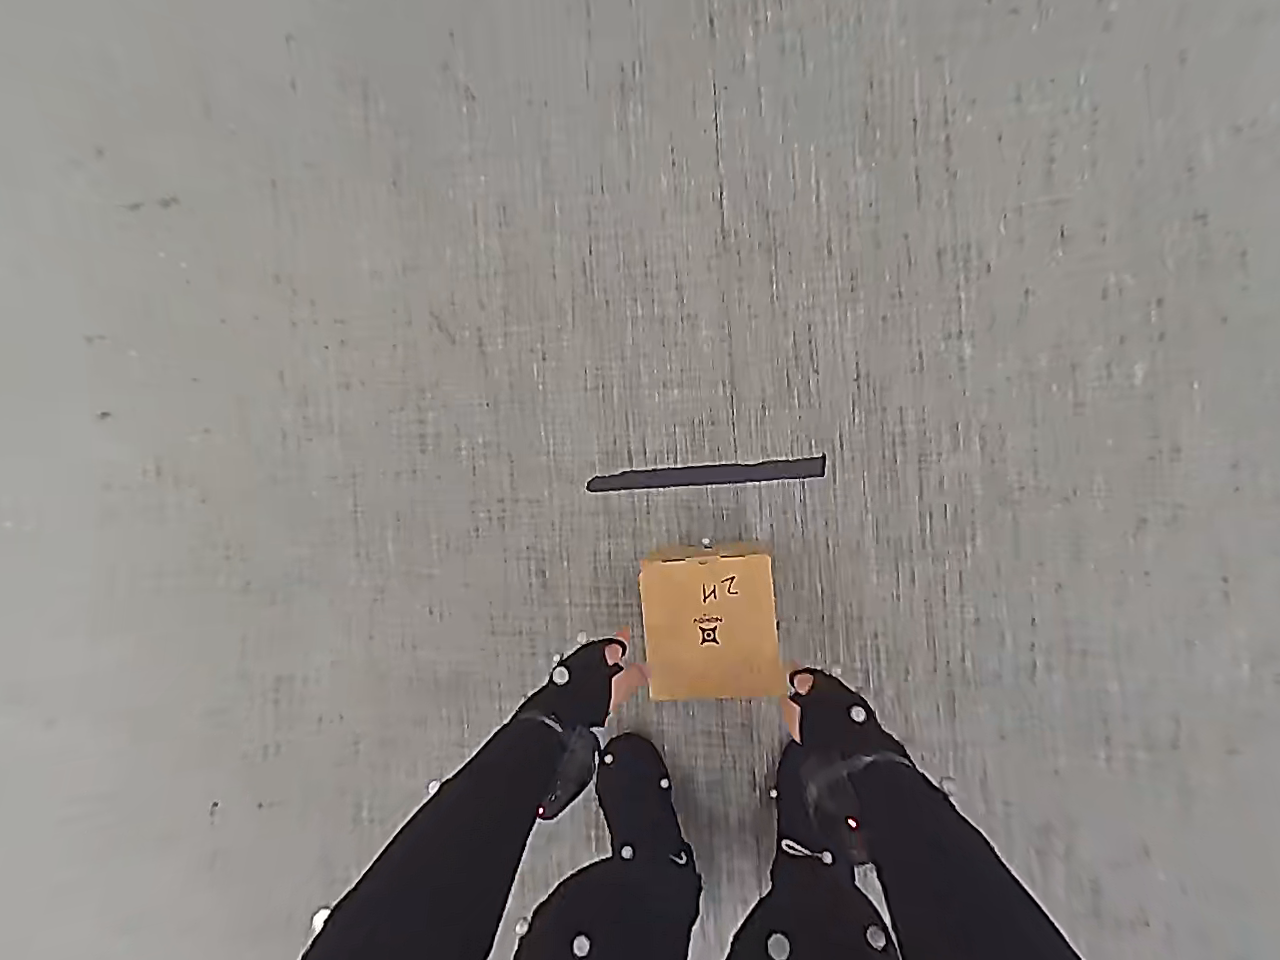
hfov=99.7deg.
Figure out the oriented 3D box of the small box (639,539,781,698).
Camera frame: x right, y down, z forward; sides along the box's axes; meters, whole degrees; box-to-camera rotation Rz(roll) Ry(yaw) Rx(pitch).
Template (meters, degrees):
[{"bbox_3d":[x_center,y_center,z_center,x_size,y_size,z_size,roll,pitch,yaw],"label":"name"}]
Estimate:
[{"bbox_3d":[0.098,0.180,0.741,0.168,0.176,0.179,-5,88,9],"label":"small box"}]
